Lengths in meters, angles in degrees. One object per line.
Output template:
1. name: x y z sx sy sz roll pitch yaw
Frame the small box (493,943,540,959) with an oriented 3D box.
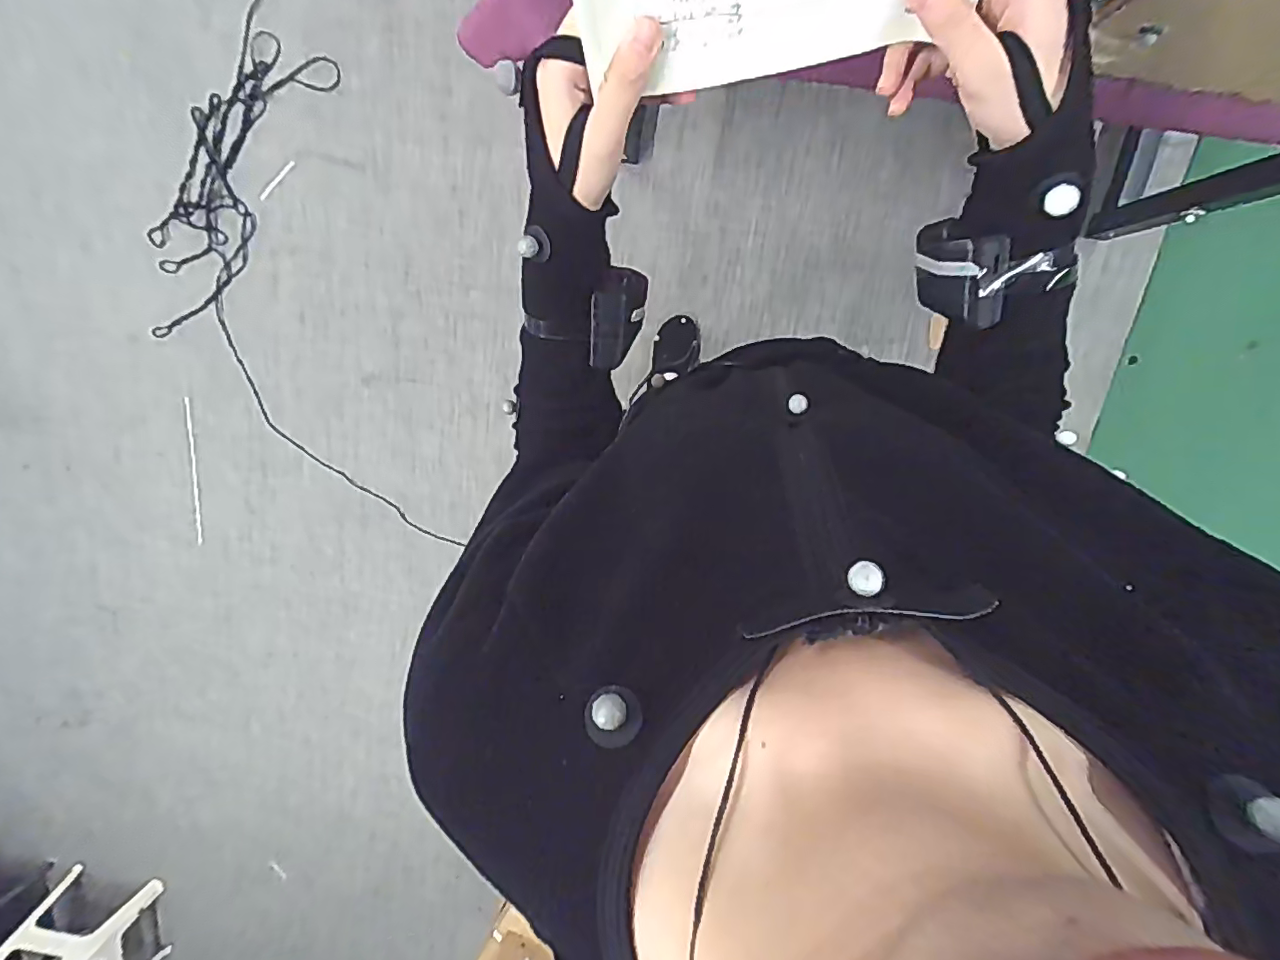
1. small box: -0.368 1.464 1.510 0.168 0.176 0.179 28 106 -1
